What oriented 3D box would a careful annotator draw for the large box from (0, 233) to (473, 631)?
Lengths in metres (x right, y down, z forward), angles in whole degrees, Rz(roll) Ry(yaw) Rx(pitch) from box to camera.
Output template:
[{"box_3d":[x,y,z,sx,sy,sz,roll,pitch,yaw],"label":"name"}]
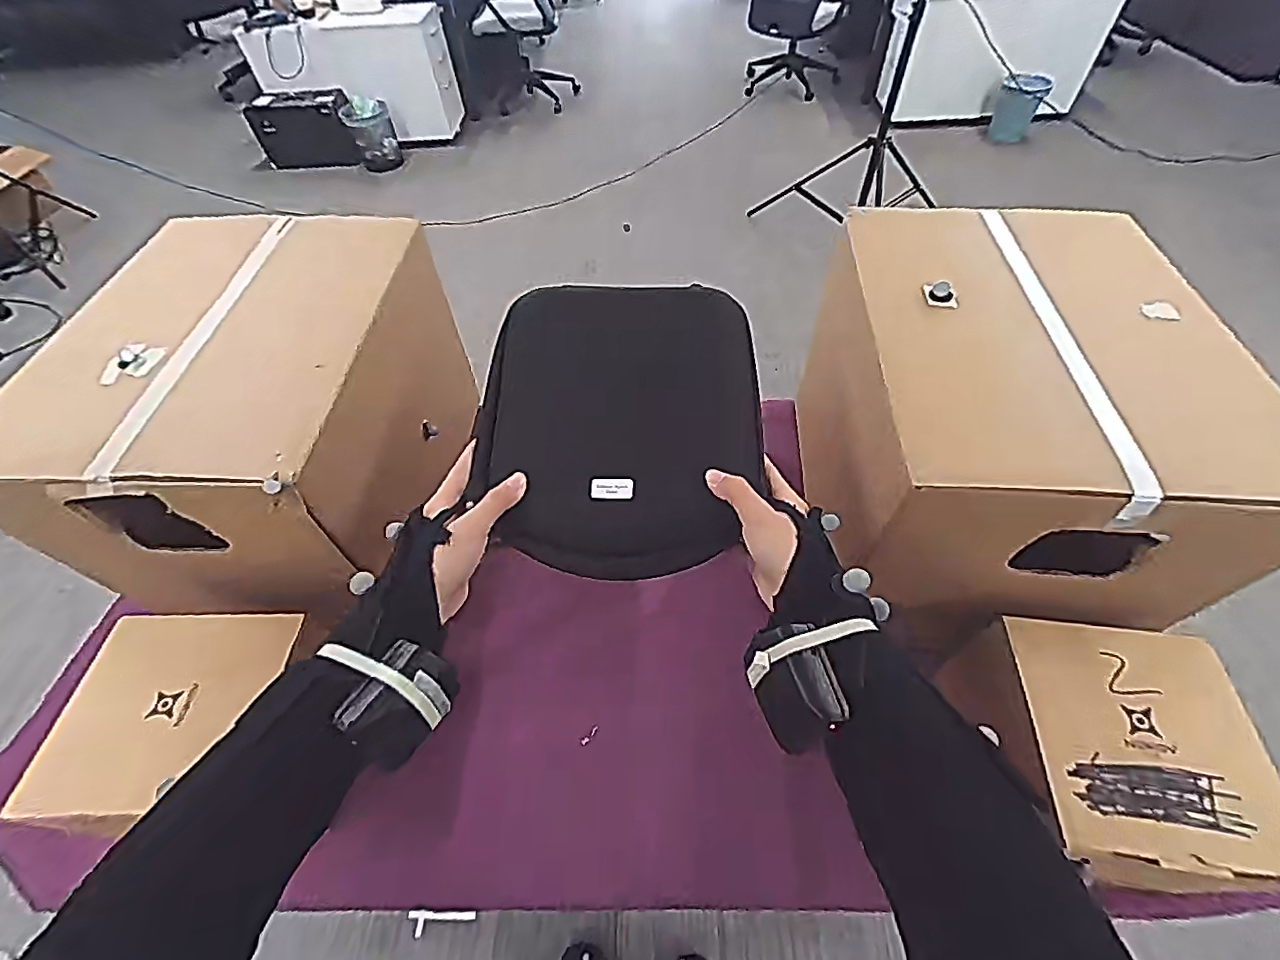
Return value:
[{"box_3d":[-0.426,-0.055,0.680,0.320,0.320,0.408,-1,55,1],"label":"large box"}]
